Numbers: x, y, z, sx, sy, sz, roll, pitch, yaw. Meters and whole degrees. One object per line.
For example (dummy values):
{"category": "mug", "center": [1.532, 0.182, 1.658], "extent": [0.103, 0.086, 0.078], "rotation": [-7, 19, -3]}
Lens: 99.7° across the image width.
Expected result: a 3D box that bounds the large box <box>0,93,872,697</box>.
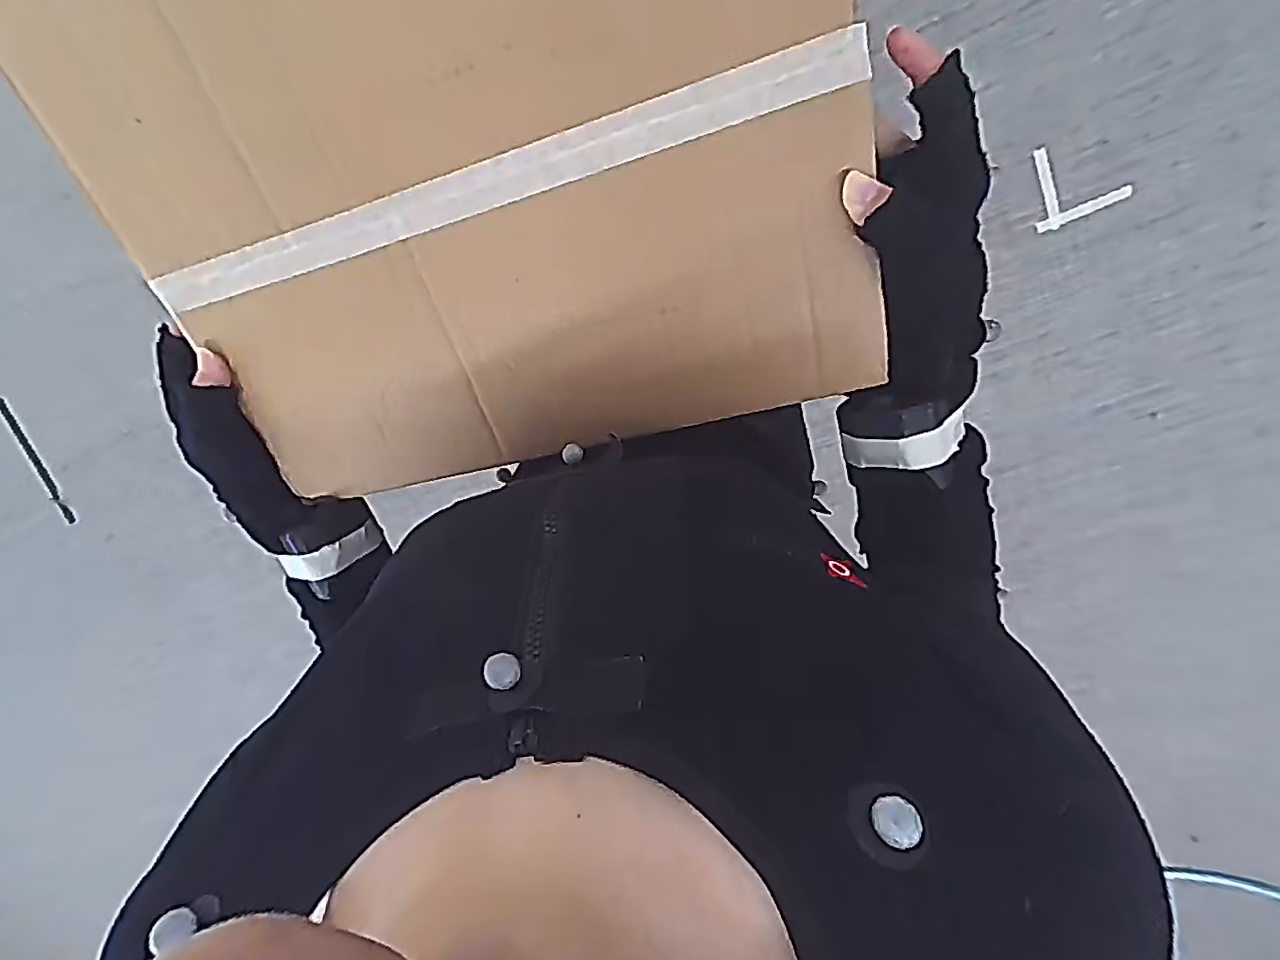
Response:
{"category": "large box", "center": [-0.092, -0.096, 0.444], "extent": [0.408, 0.320, 0.320], "rotation": [-14, 124, -12]}
